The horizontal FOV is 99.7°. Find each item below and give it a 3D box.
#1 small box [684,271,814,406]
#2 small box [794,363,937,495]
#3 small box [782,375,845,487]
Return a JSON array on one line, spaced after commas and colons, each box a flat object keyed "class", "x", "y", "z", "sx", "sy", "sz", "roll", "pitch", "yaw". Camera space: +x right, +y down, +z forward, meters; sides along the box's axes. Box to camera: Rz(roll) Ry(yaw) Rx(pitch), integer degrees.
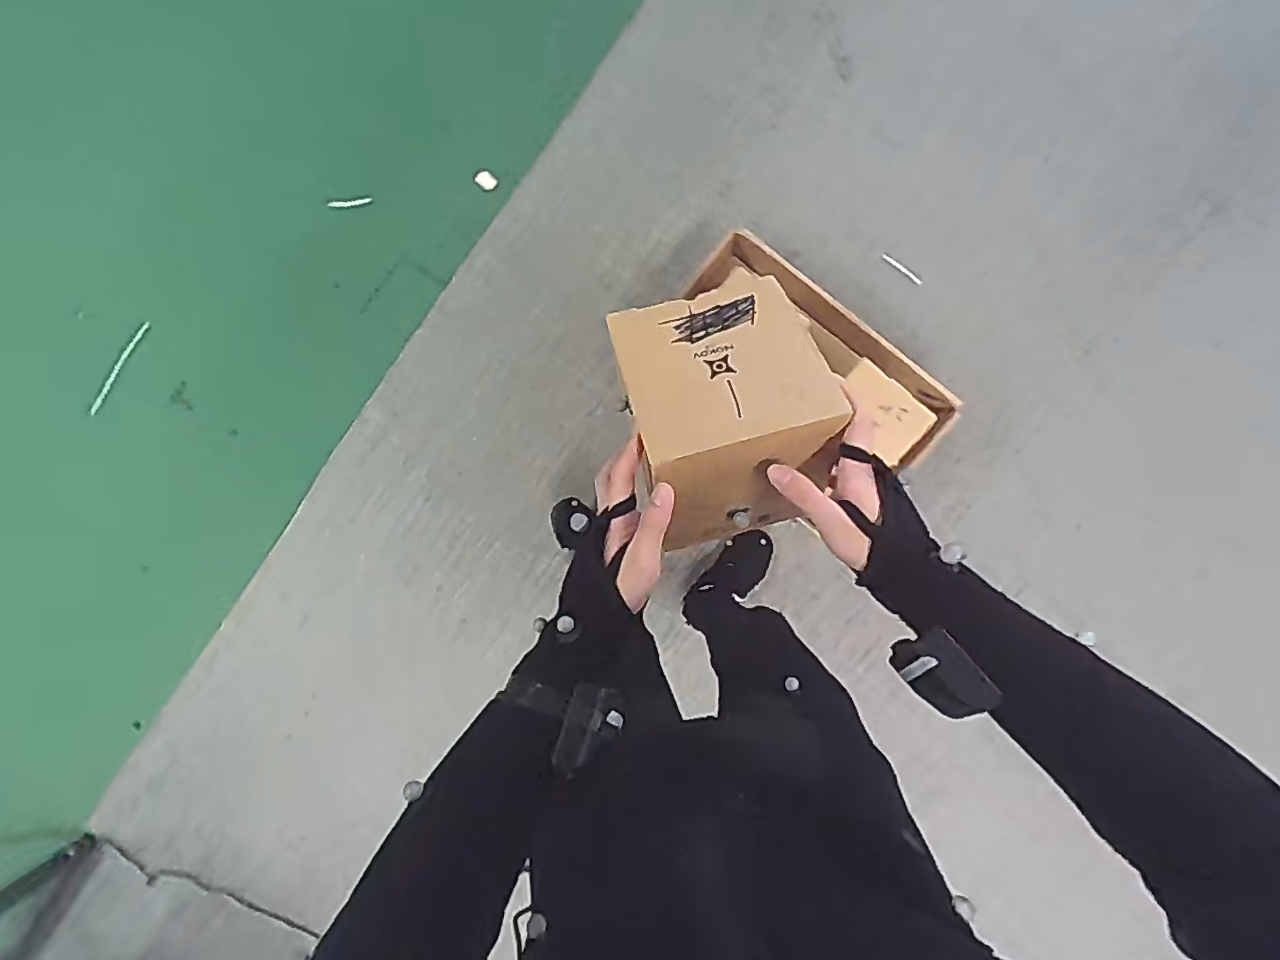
[{"class": "small box", "x": 0.200, "y": -0.261, "z": 1.041, "sx": 0.168, "sy": 0.176, "sz": 0.179, "roll": 39, "pitch": 98, "yaw": 3}, {"class": "small box", "x": 0.414, "y": -0.094, "z": 1.032, "sx": 0.168, "sy": 0.176, "sz": 0.179, "roll": 42, "pitch": 98, "yaw": 3}, {"class": "small box", "x": 0.432, "y": -0.105, "z": 1.196, "sx": 0.168, "sy": 0.176, "sz": 0.179, "roll": 41, "pitch": 98, "yaw": 3}]
